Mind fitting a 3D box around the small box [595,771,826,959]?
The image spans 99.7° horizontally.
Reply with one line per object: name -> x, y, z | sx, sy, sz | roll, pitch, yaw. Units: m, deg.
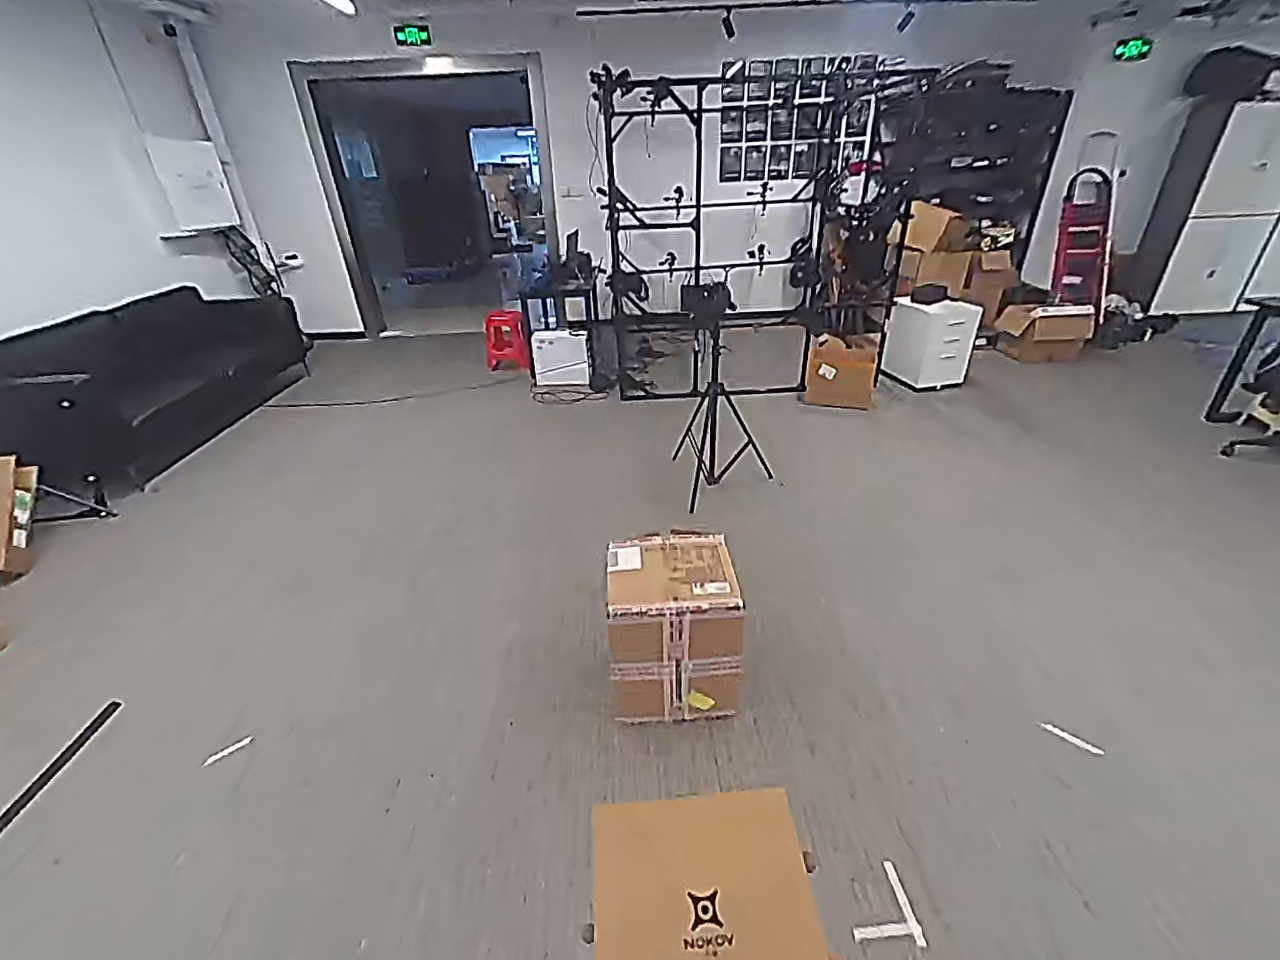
small box -> 0.051, 0.379, 0.457 | 0.168, 0.176, 0.179 | -6, 38, 0
